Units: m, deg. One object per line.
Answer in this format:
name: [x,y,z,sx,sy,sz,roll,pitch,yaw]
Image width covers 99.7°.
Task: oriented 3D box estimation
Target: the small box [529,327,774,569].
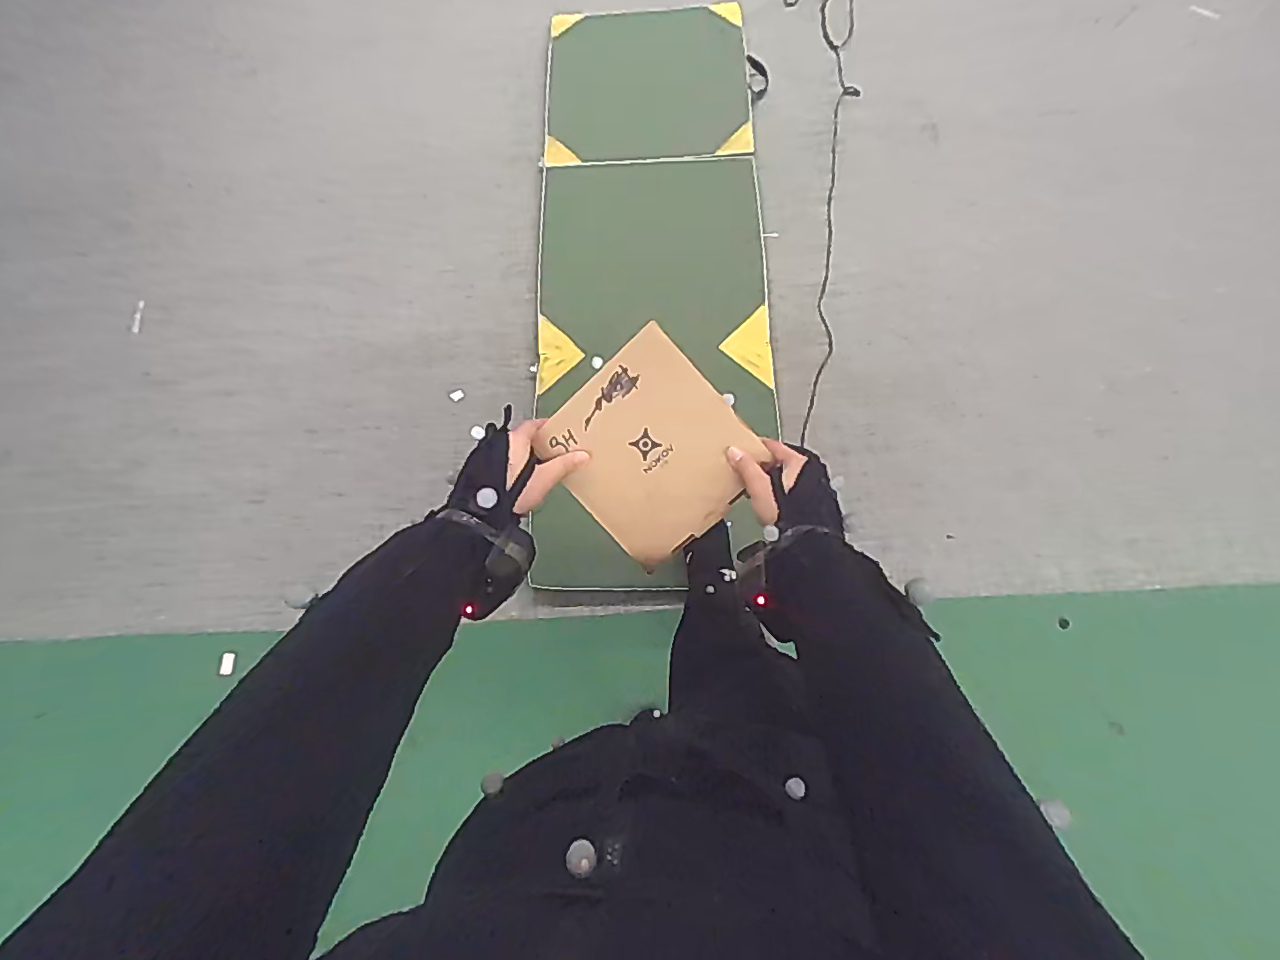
small box: [0.015,-0.039,0.587,0.168,0.176,0.179,-42,95,8]
